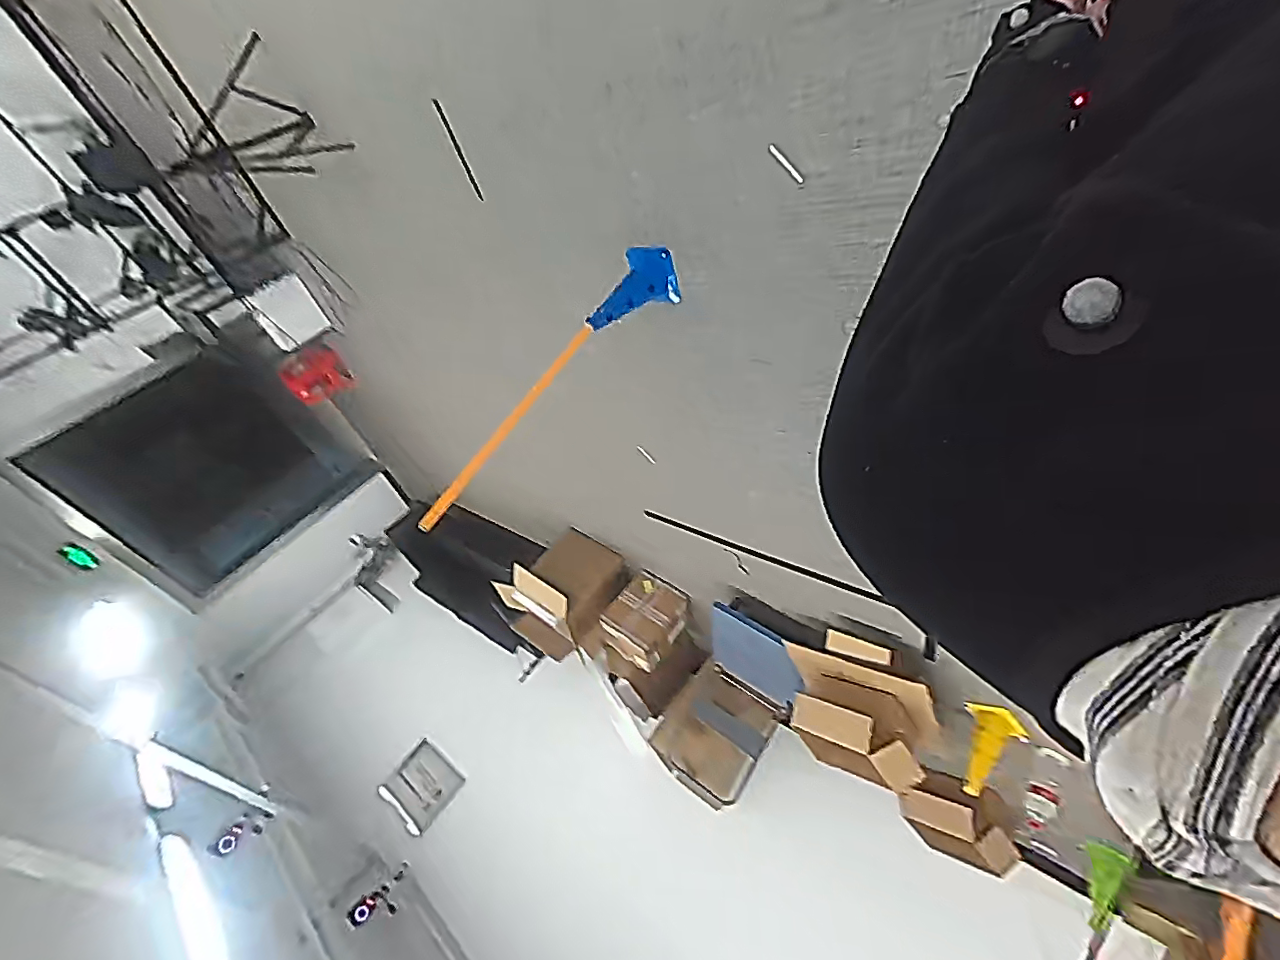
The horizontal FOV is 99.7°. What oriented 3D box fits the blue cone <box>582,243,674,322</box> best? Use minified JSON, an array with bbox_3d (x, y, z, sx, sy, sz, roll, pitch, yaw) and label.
[{"bbox_3d":[-0.062,-0.636,1.836,0.193,0.380,0.192,21,145,36],"label":"blue cone"}]
